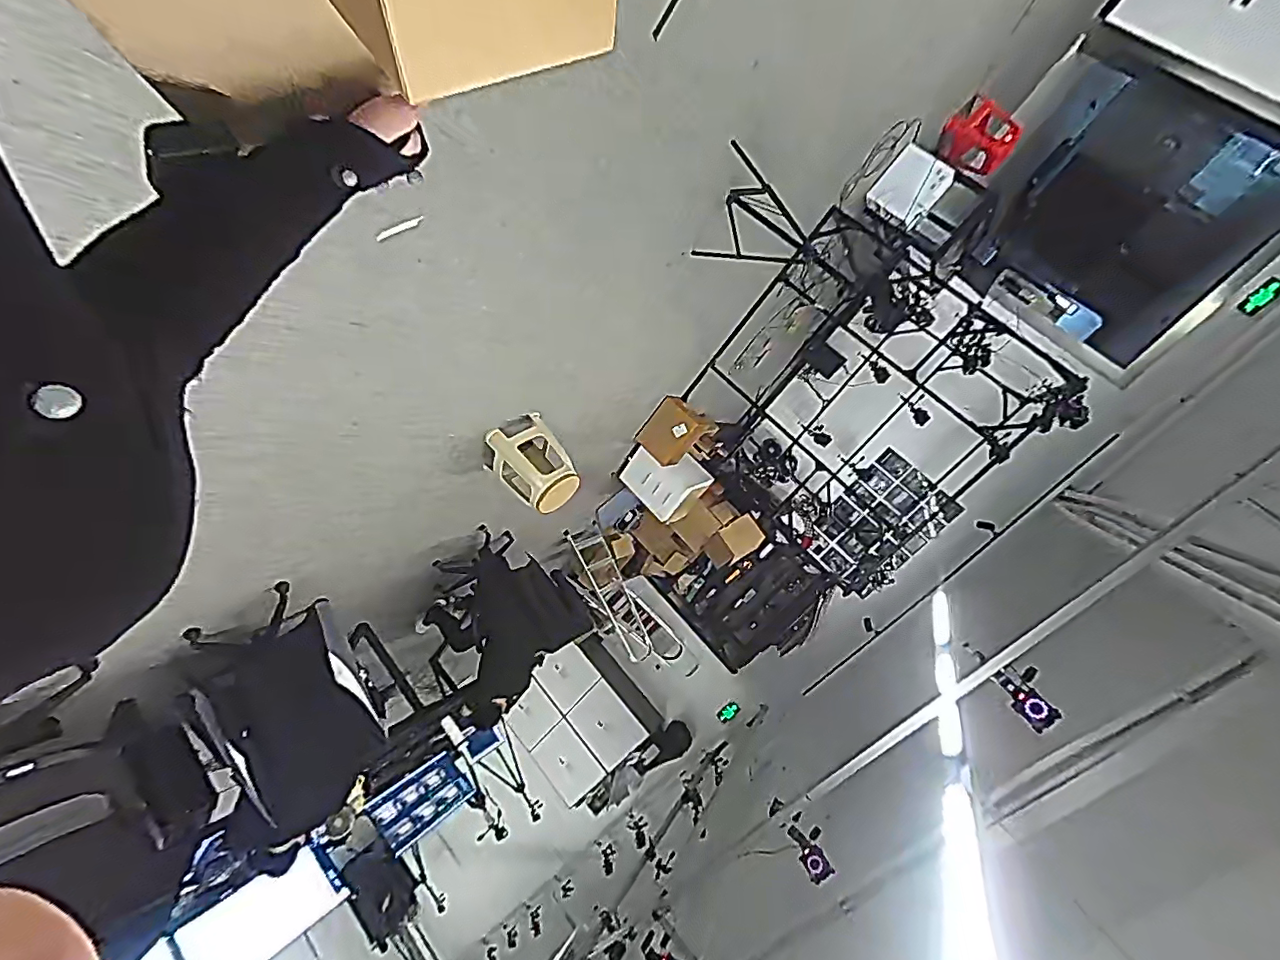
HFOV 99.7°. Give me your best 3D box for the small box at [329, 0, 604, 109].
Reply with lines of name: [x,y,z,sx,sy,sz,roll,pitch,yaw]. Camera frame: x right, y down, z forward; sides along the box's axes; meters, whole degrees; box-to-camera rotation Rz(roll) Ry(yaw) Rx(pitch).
small box: [-0.133,-0.391,0.344,0.168,0.176,0.179,-32,163,-18]
